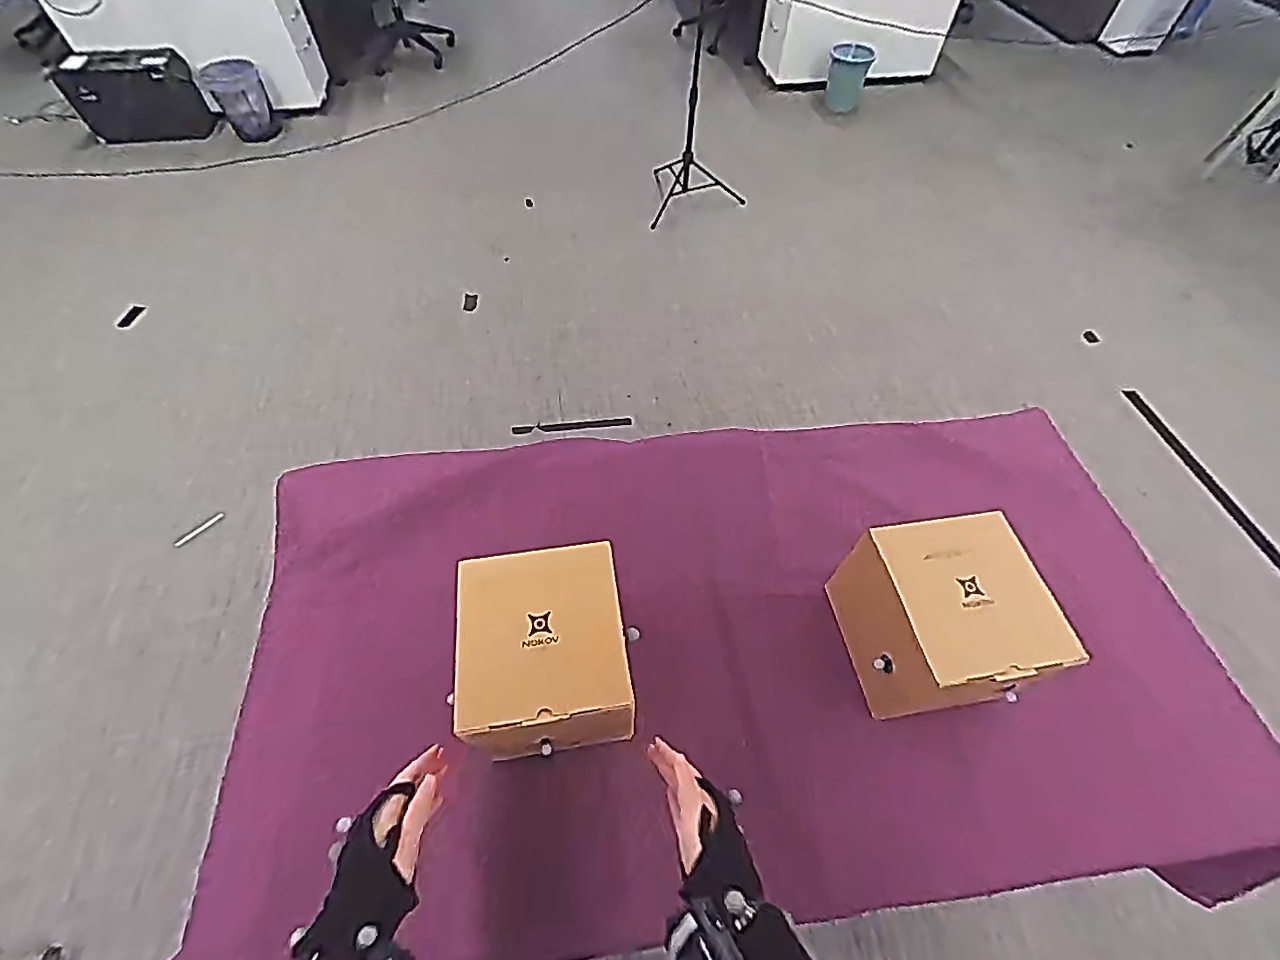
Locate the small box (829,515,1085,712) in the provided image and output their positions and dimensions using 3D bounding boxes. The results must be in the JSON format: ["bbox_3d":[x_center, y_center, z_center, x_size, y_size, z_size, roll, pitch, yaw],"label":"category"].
[{"bbox_3d":[0.348,0.164,0.637,0.168,0.176,0.179,-6,56,-6],"label":"small box"}]

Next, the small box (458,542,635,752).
[{"bbox_3d":[-0.100,0.191,0.610,0.168,0.176,0.179,-7,58,-6],"label":"small box"}]
